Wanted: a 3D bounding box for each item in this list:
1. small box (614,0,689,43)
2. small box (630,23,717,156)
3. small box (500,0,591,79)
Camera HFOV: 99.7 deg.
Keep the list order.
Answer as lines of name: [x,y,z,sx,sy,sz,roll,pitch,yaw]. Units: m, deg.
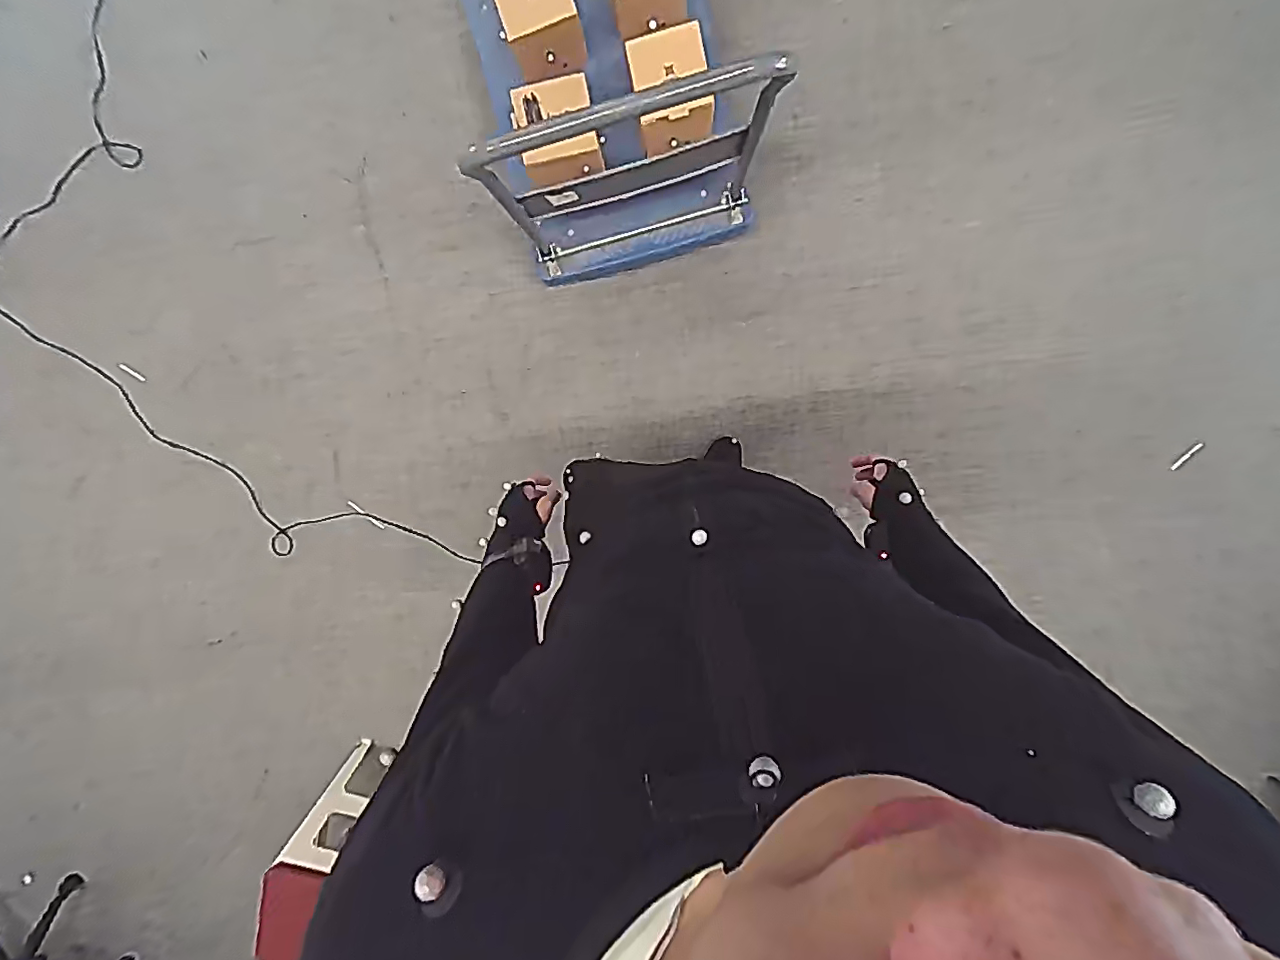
small box: [0.013,-1.170,1.248,0.168,0.176,0.179,-17,96,8]
small box: [0.079,-0.909,1.275,0.168,0.176,0.179,-13,96,6]
small box: [-0.226,-1.095,1.278,0.168,0.176,0.179,-17,95,6]
